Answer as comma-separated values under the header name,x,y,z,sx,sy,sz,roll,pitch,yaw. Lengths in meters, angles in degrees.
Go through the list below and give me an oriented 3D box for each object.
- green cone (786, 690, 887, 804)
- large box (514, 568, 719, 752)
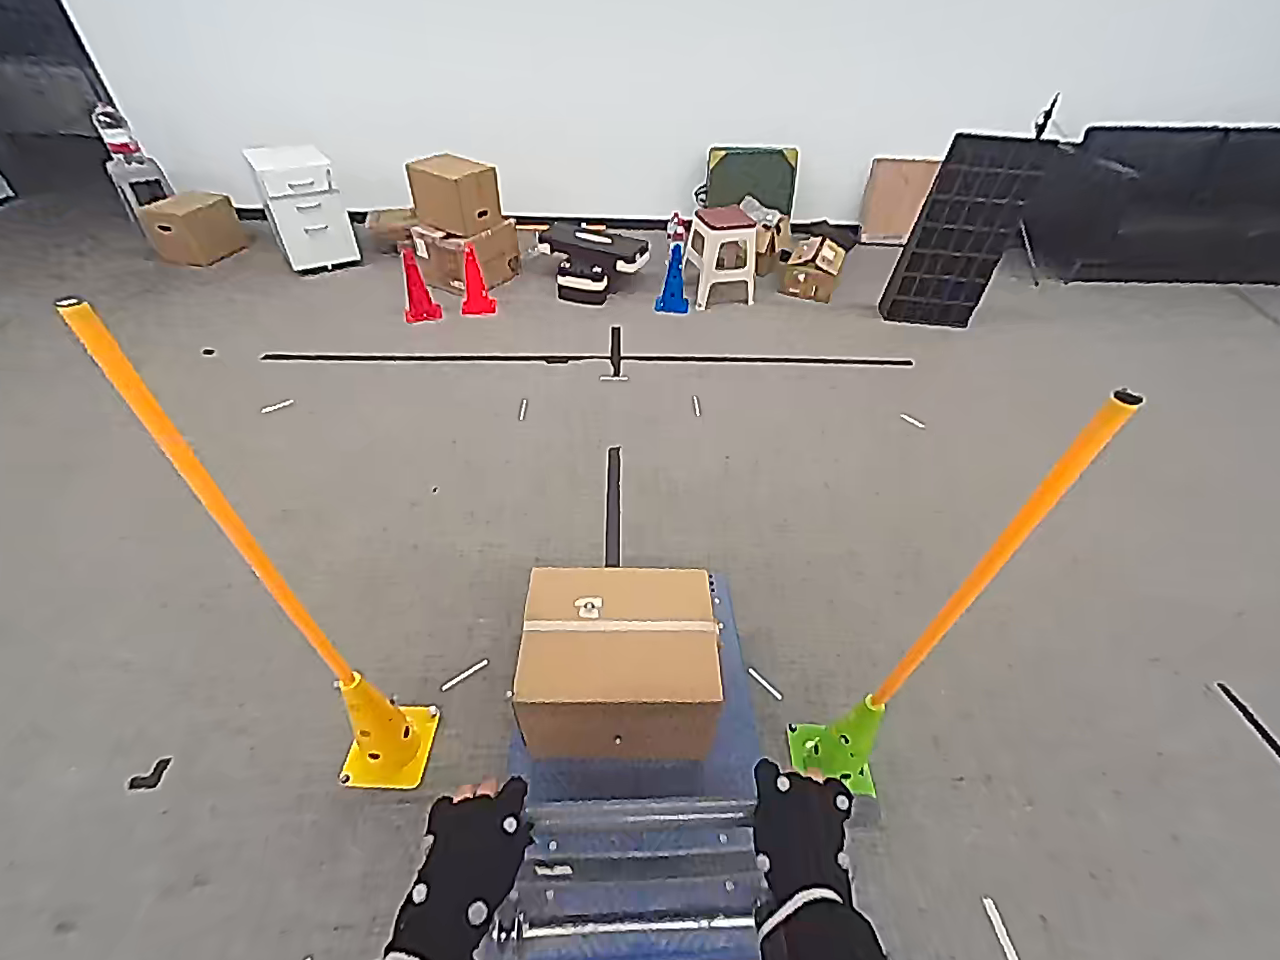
name,x,y,z,sx,sy,sz,roll,pitch,yaw
green cone,0.502,0.608,1.295,0.202,0.368,0.200,4,43,-1
large box,-0.048,0.419,1.251,0.408,0.320,0.320,1,44,-1
